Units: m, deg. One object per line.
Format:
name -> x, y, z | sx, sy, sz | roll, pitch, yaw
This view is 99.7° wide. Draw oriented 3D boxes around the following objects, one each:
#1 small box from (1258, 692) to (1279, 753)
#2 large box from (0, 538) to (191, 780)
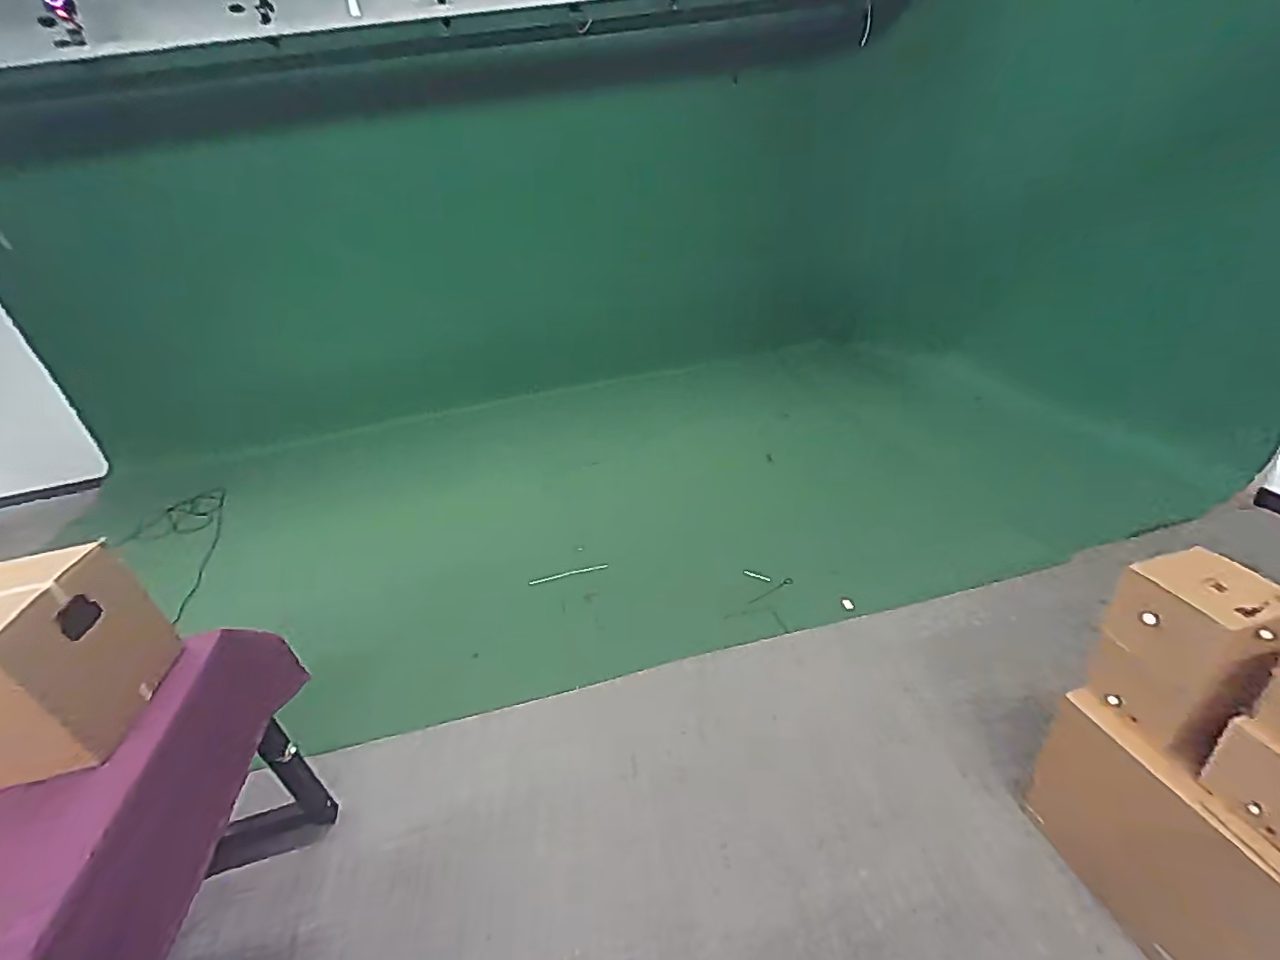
small box -> 1.100, 0.367, 0.799 | 0.179, 0.176, 0.168 | -10, 27, -4
large box -> -1.228, 0.358, 1.045 | 0.408, 0.320, 0.320 | -11, 29, -7
